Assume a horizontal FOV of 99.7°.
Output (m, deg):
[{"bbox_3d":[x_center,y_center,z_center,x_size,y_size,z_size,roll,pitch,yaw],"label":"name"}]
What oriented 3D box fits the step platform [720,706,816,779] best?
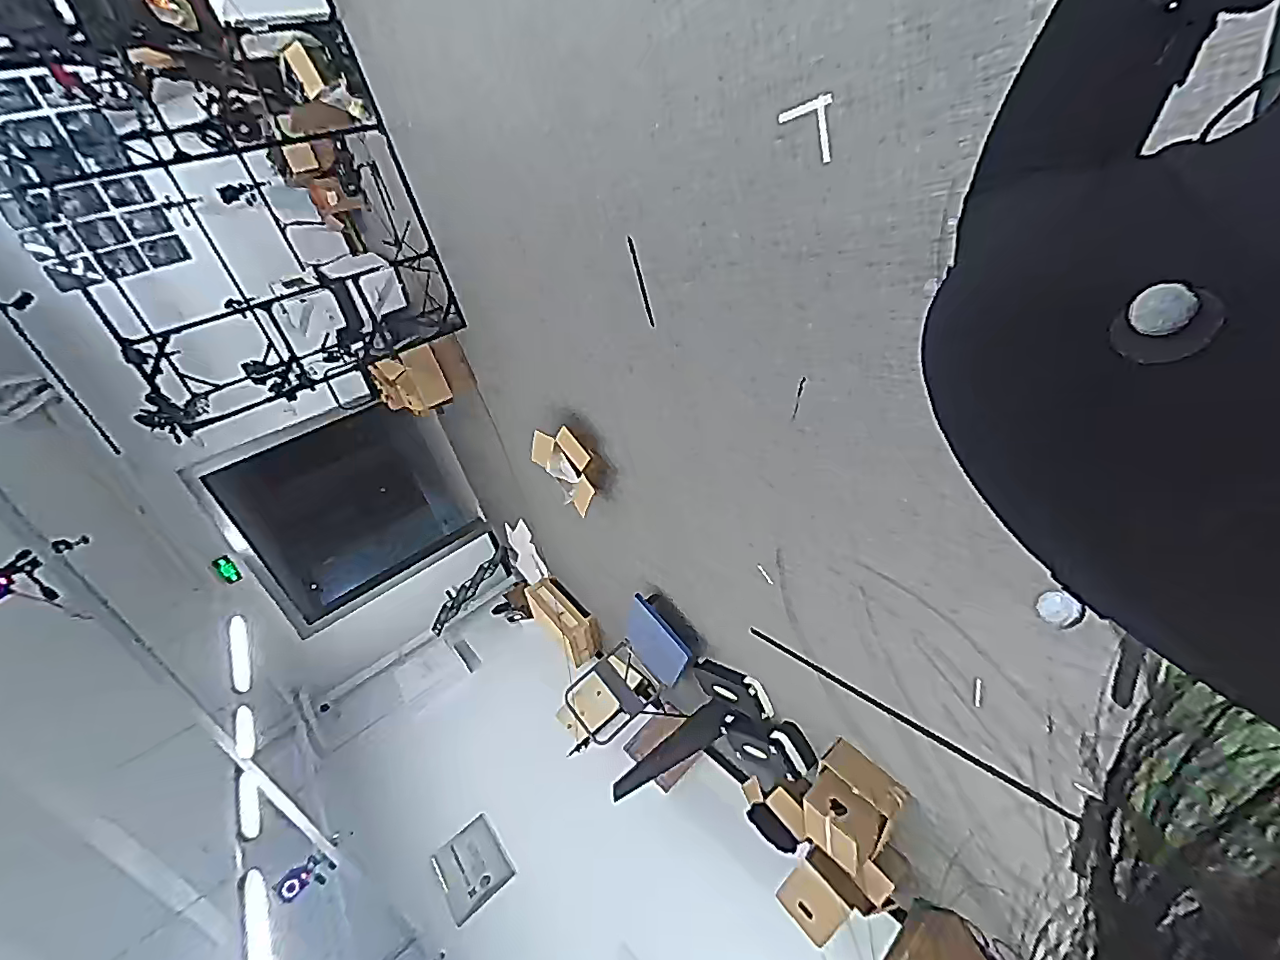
[{"bbox_3d":[0.809,1.701,3.527,0.286,0.204,0.684,59,152,-2],"label":"step platform"}]
